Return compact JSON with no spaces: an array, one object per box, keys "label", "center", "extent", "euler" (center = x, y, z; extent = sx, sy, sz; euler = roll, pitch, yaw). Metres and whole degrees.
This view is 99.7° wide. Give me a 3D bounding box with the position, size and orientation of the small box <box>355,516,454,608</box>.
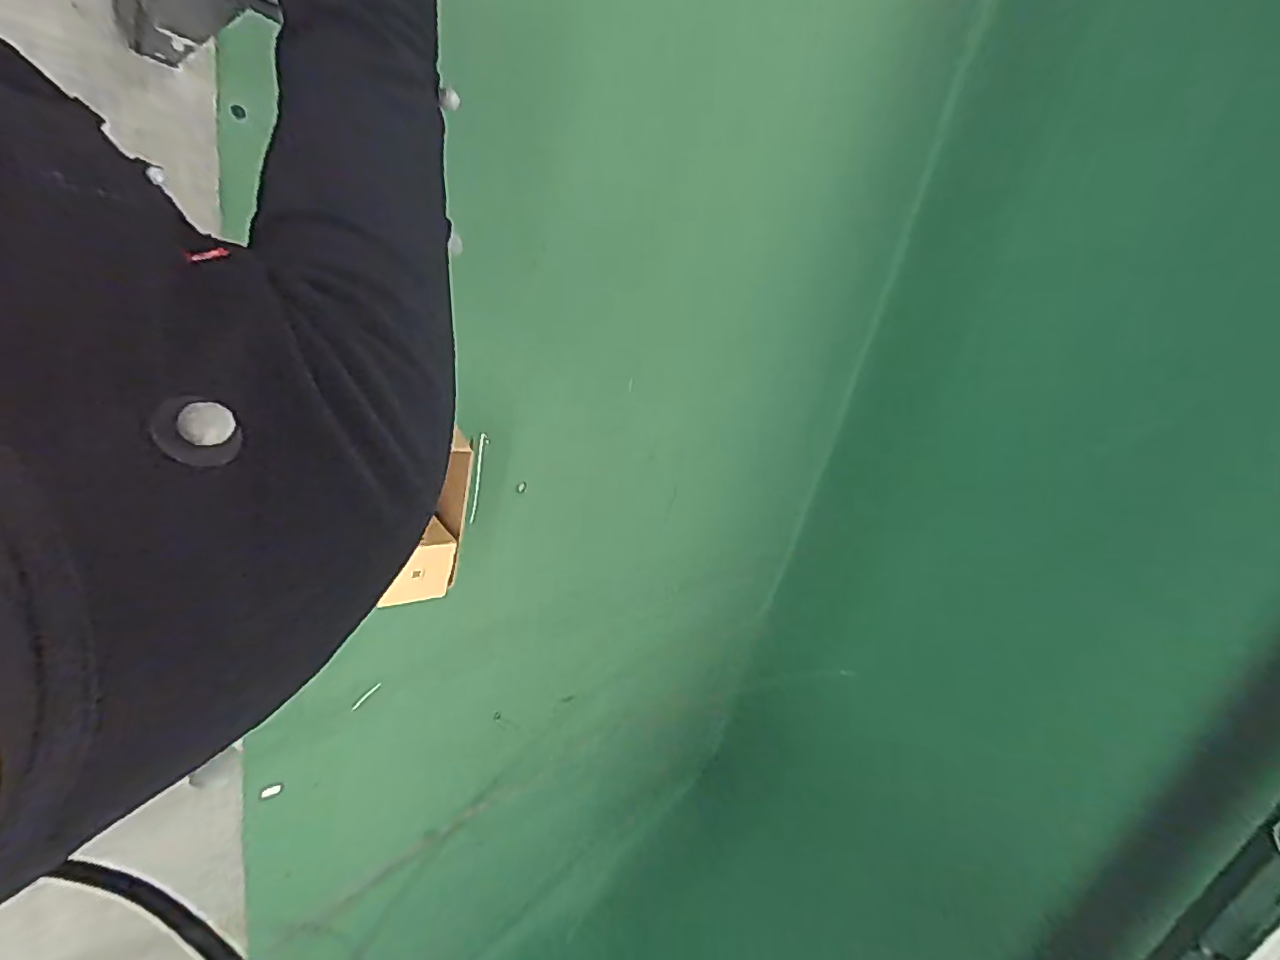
[{"label":"small box","center":[-0.612,0.203,1.393],"extent":[0.179,0.176,0.168],"euler":[-1,116,-47]}]
